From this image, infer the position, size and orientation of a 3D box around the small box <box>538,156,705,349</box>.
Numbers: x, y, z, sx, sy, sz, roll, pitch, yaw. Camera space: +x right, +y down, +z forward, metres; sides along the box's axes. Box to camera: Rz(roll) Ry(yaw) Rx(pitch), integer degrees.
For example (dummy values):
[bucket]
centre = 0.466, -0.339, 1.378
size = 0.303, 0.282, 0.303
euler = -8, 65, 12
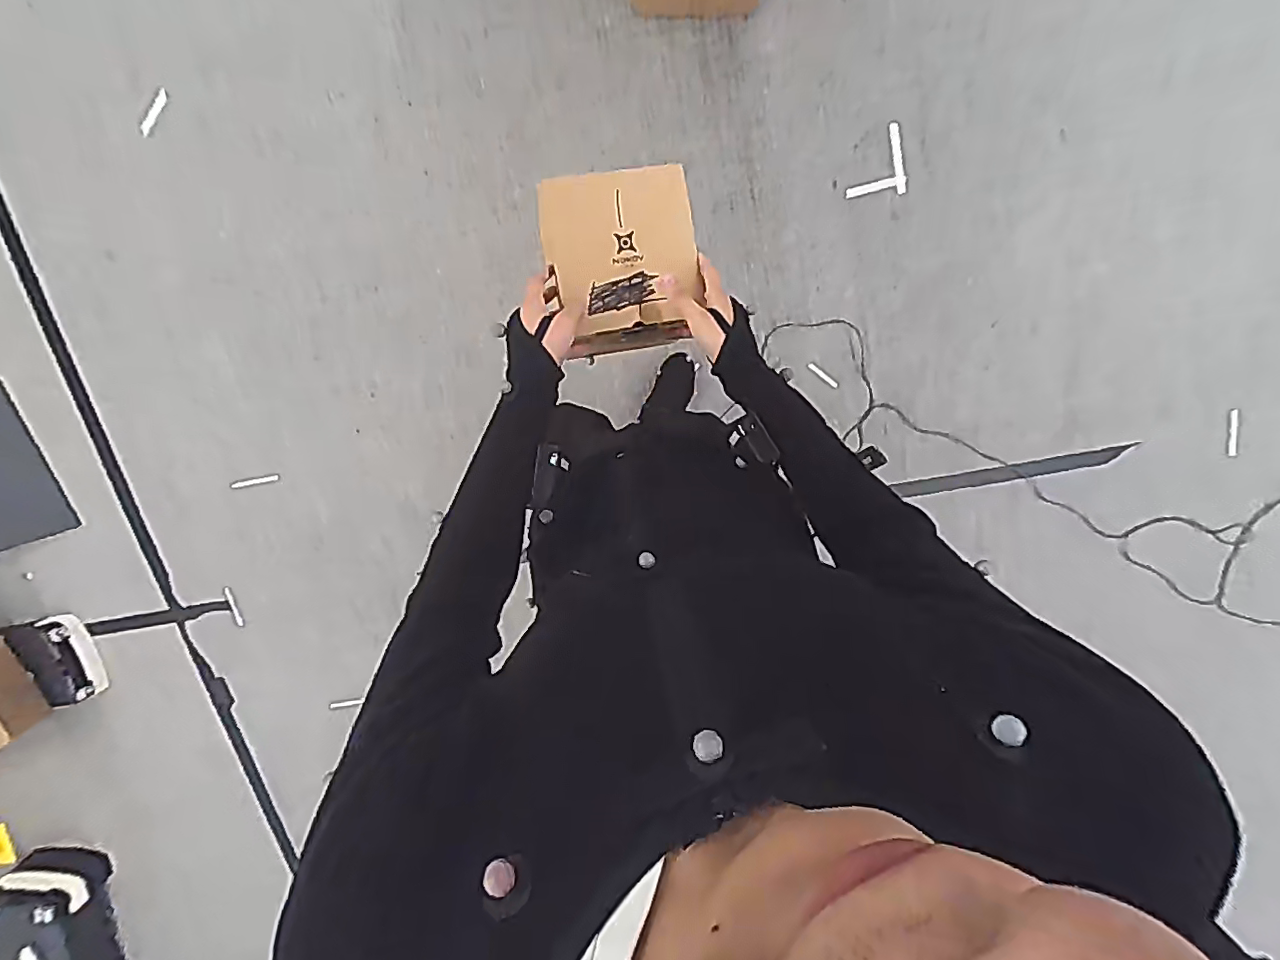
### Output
[small box]
centre = -0.028, -0.268, 0.678
size = 0.168, 0.176, 0.179
euler = -11, 96, -8
